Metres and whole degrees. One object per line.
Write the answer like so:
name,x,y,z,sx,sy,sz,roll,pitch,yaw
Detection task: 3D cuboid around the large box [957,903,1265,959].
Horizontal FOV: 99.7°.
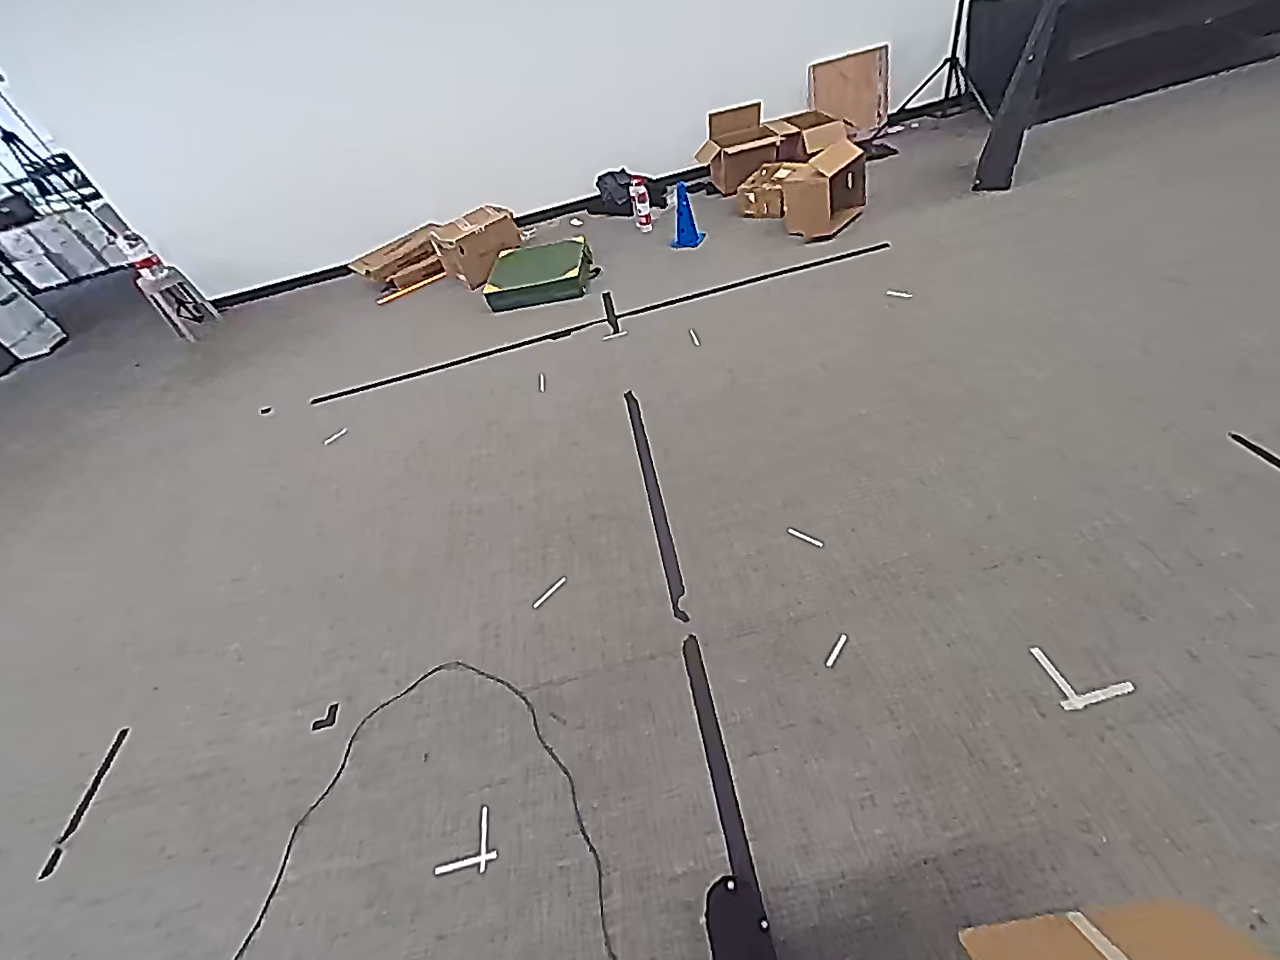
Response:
large box,0.589,0.715,0.517,0.320,0.408,0.320,-15,81,6
